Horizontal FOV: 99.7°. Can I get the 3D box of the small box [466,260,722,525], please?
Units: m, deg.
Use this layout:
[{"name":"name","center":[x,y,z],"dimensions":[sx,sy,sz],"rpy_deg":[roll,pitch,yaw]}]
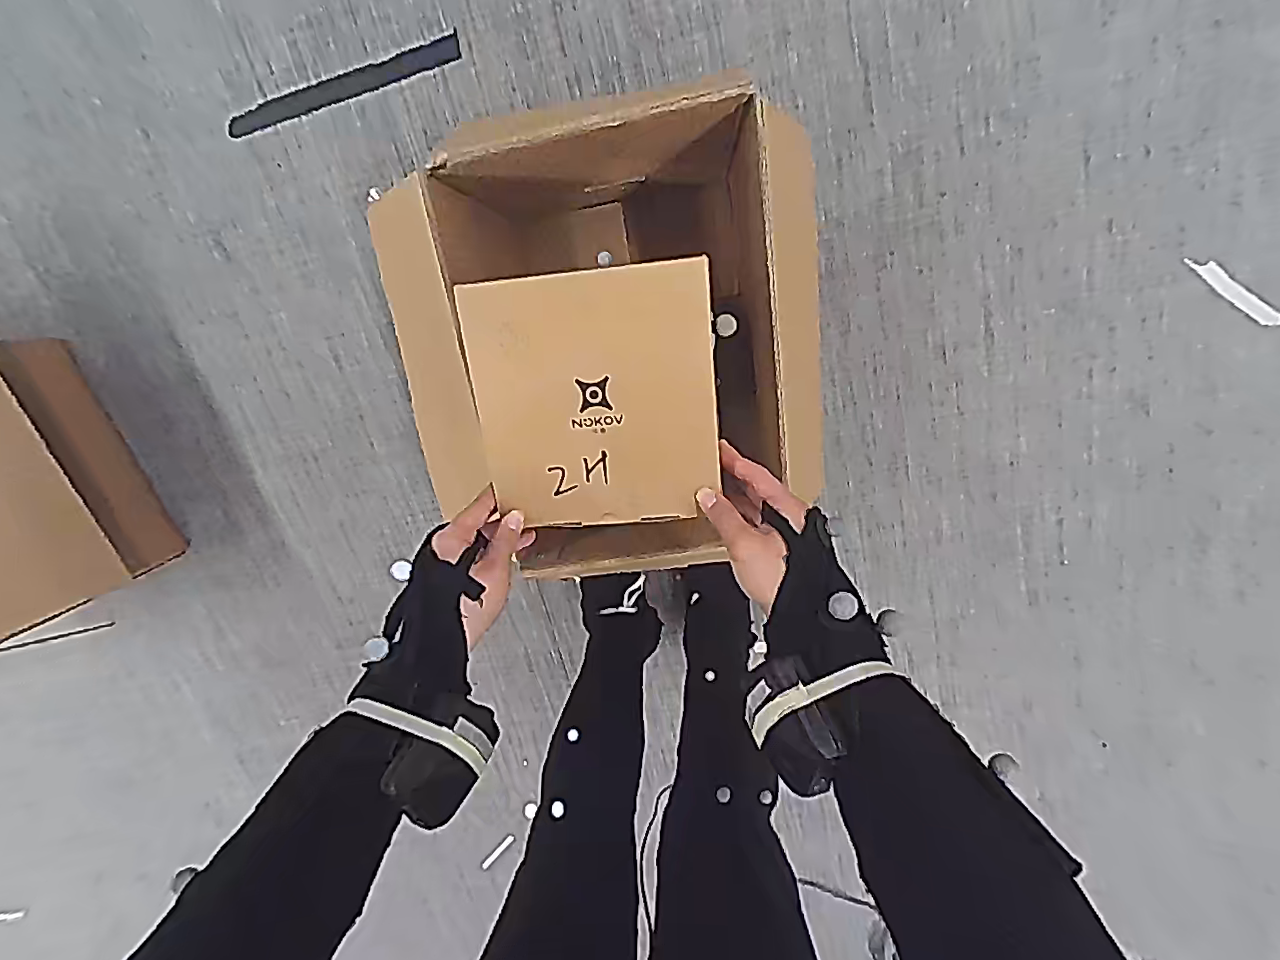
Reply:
[{"name":"small box","center":[-0.022,-0.077,0.453],"dimensions":[0.168,0.176,0.179],"rpy_deg":[-4,109,7]}]
